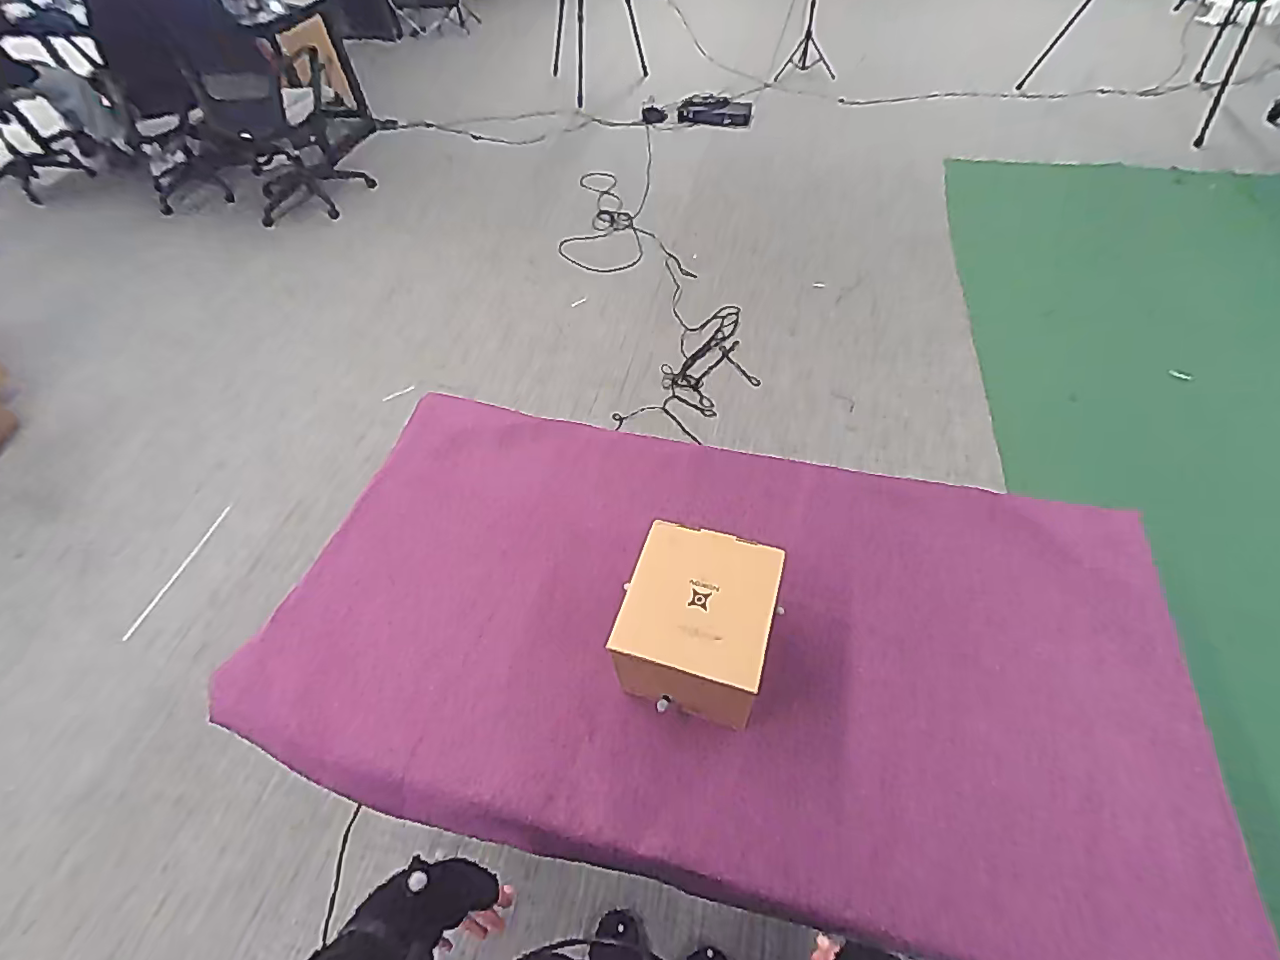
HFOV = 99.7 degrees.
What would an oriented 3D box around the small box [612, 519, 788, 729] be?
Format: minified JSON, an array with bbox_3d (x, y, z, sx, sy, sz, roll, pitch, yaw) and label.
[{"bbox_3d":[0.076,0.180,0.672,0.168,0.176,0.179,13,55,14],"label":"small box"}]
